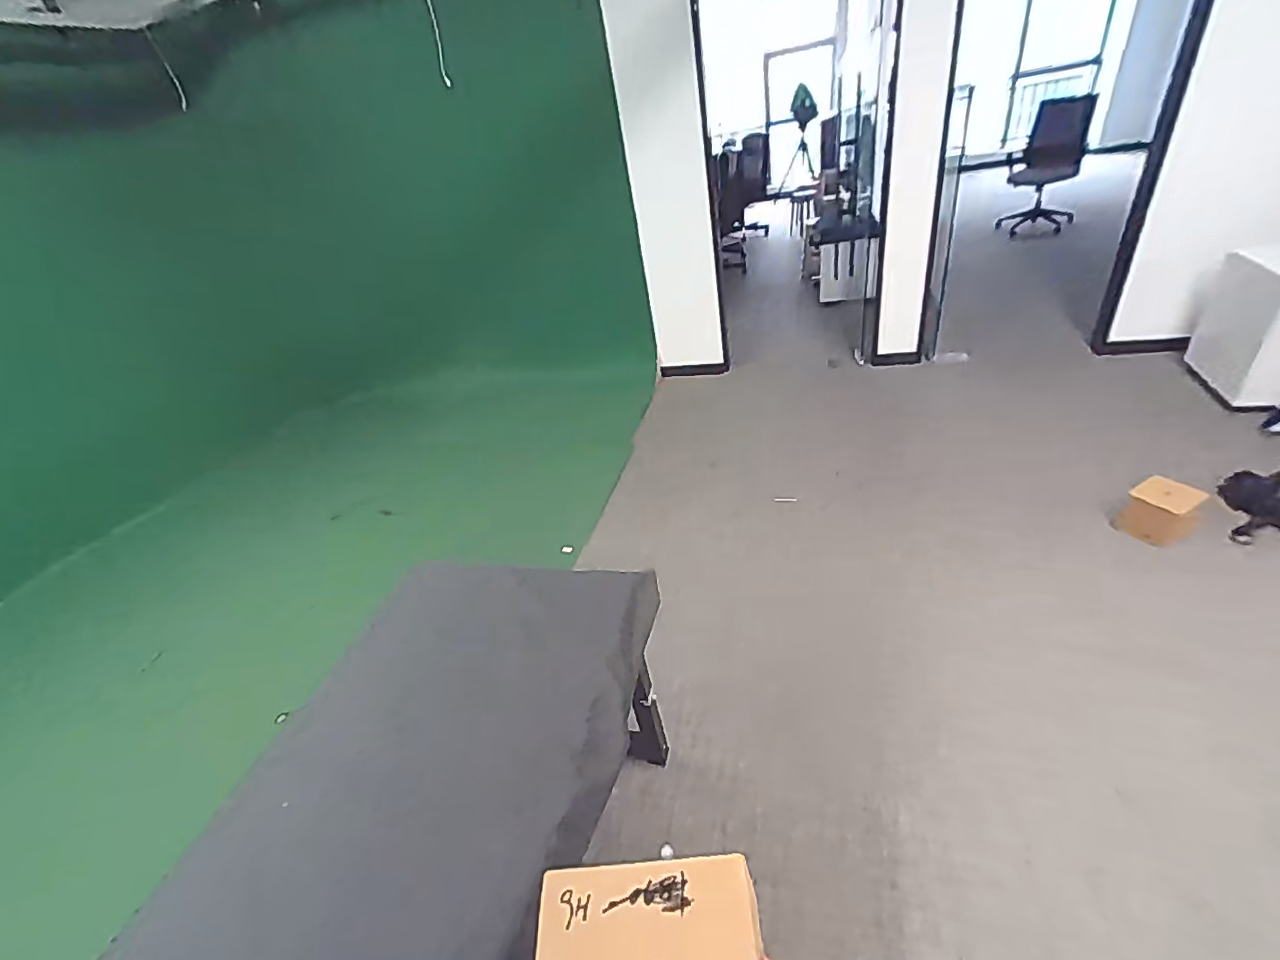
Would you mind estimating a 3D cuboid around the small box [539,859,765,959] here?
[{"bbox_3d":[0.020,0.423,0.423,0.168,0.176,0.179,-8,43,5],"label":"small box"}]
